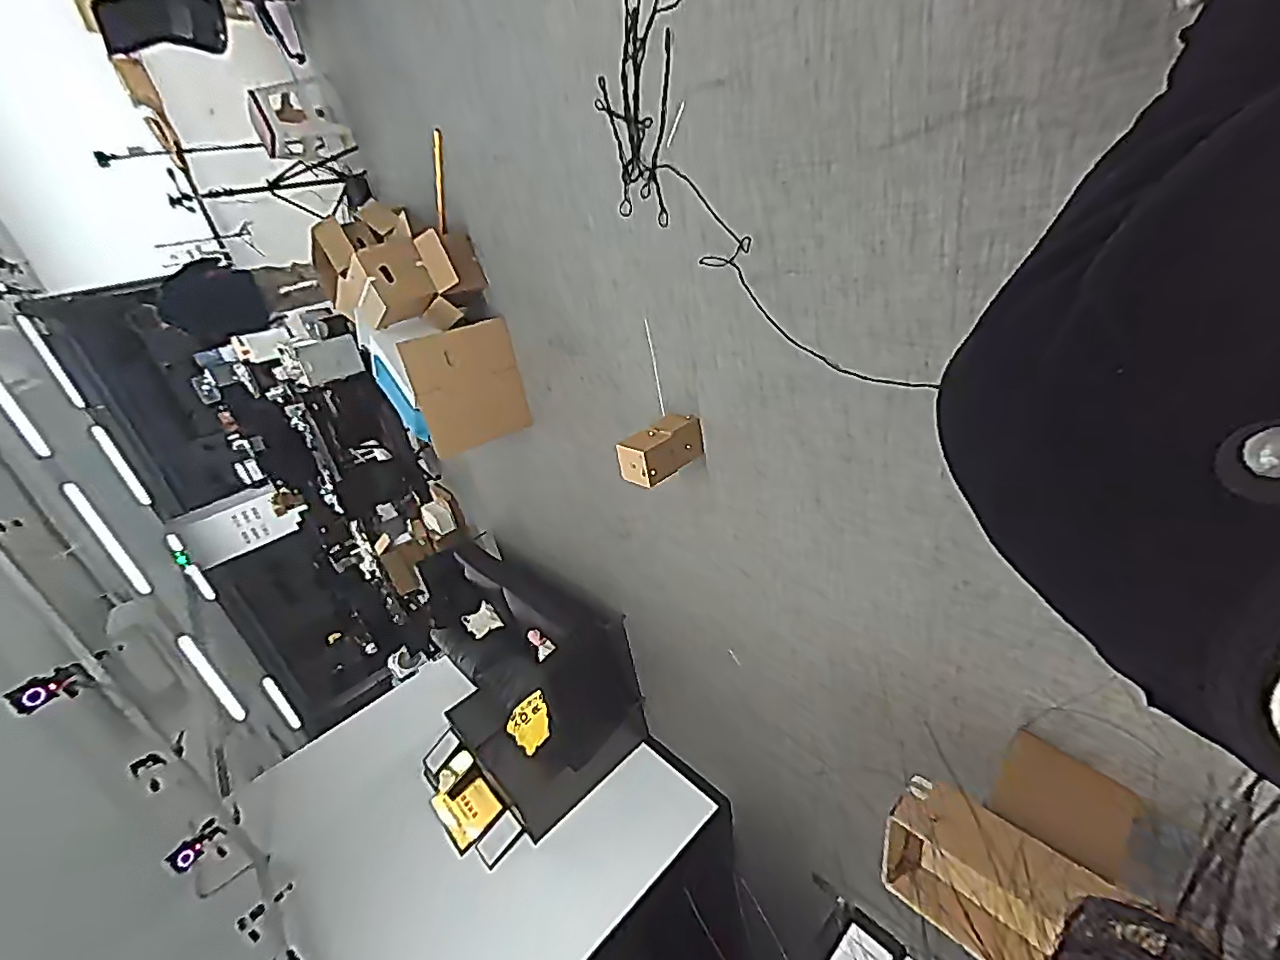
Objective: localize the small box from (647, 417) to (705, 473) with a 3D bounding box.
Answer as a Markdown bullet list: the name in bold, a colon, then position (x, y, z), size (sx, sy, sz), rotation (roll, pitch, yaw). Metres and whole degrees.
- **small box**: position (0.158, -0.156, 2.315), size (0.168, 0.176, 0.179), rotation (19, 130, 47)

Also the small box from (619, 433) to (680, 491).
- **small box**: position (0.040, -0.082, 2.229), size (0.179, 0.176, 0.168), rotation (21, 131, 46)
